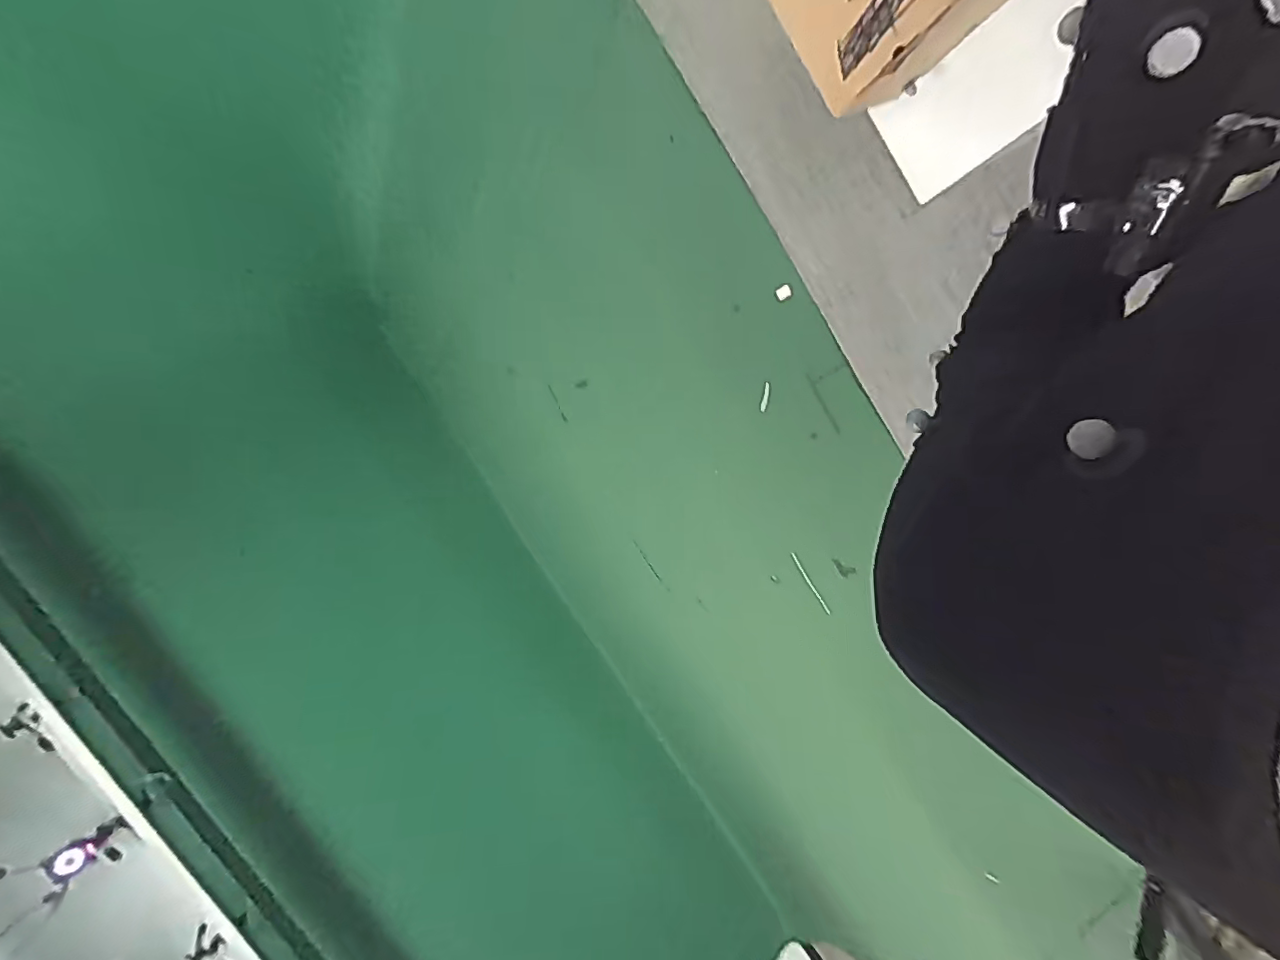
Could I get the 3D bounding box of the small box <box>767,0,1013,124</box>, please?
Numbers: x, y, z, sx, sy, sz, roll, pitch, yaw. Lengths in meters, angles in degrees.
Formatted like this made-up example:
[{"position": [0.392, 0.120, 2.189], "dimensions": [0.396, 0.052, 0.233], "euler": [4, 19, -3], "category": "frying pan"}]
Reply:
[{"position": [0.273, -0.534, 0.584], "dimensions": [0.179, 0.176, 0.168], "euler": [58, 147, -5], "category": "small box"}]
